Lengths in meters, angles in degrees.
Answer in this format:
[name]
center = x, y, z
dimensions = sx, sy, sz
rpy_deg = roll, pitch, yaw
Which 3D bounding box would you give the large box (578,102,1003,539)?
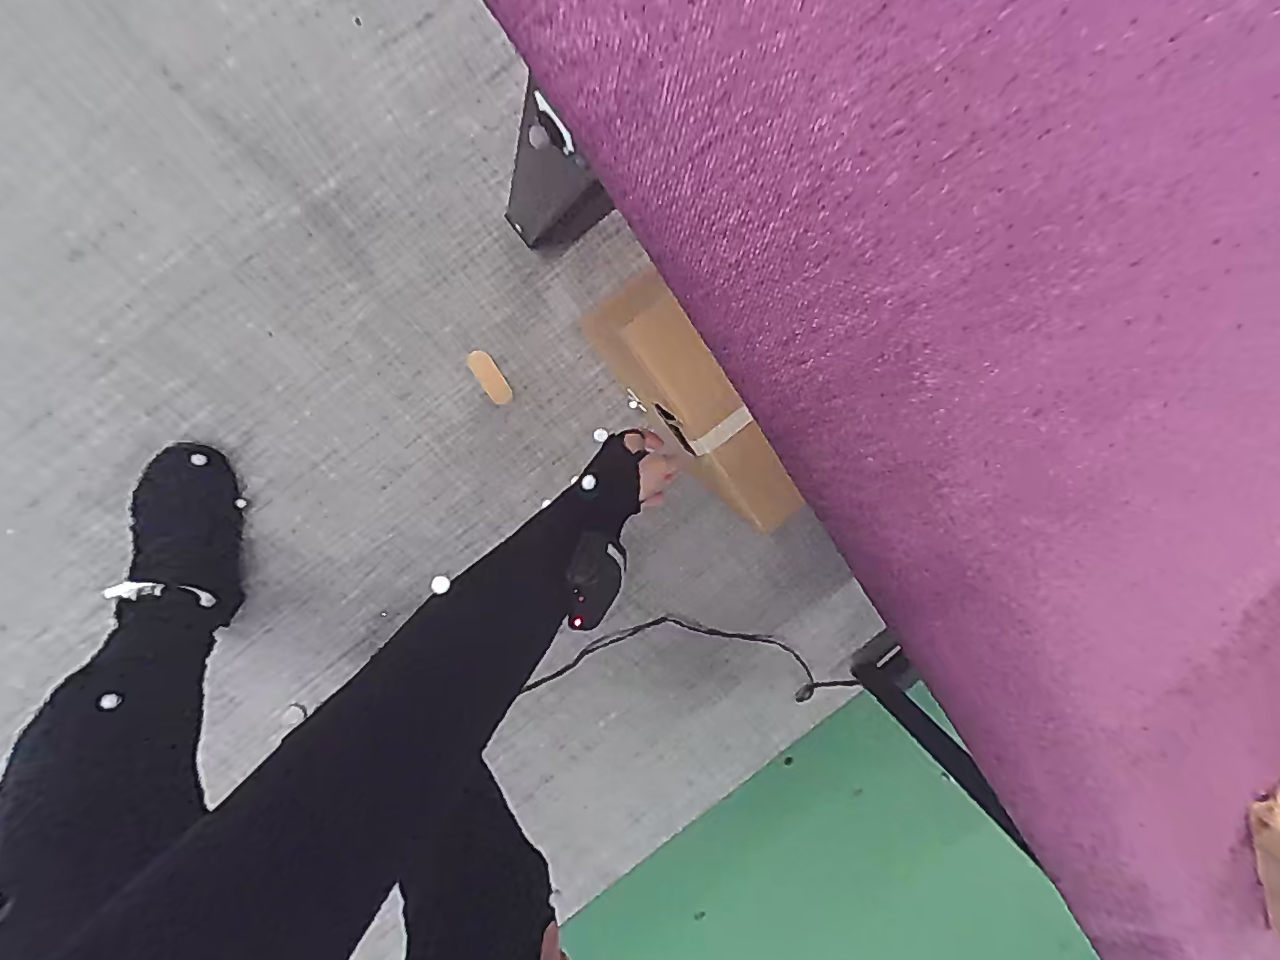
[large box]
center = 0.177, -0.198, 0.751
dimensions = 0.408, 0.320, 0.320
rpy_deg = -39, 113, -2

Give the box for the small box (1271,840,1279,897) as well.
[small box]
center = 0.446, 0.204, 0.231
dimensions = 0.179, 0.176, 0.168
rpy_deg = -38, 111, -2
